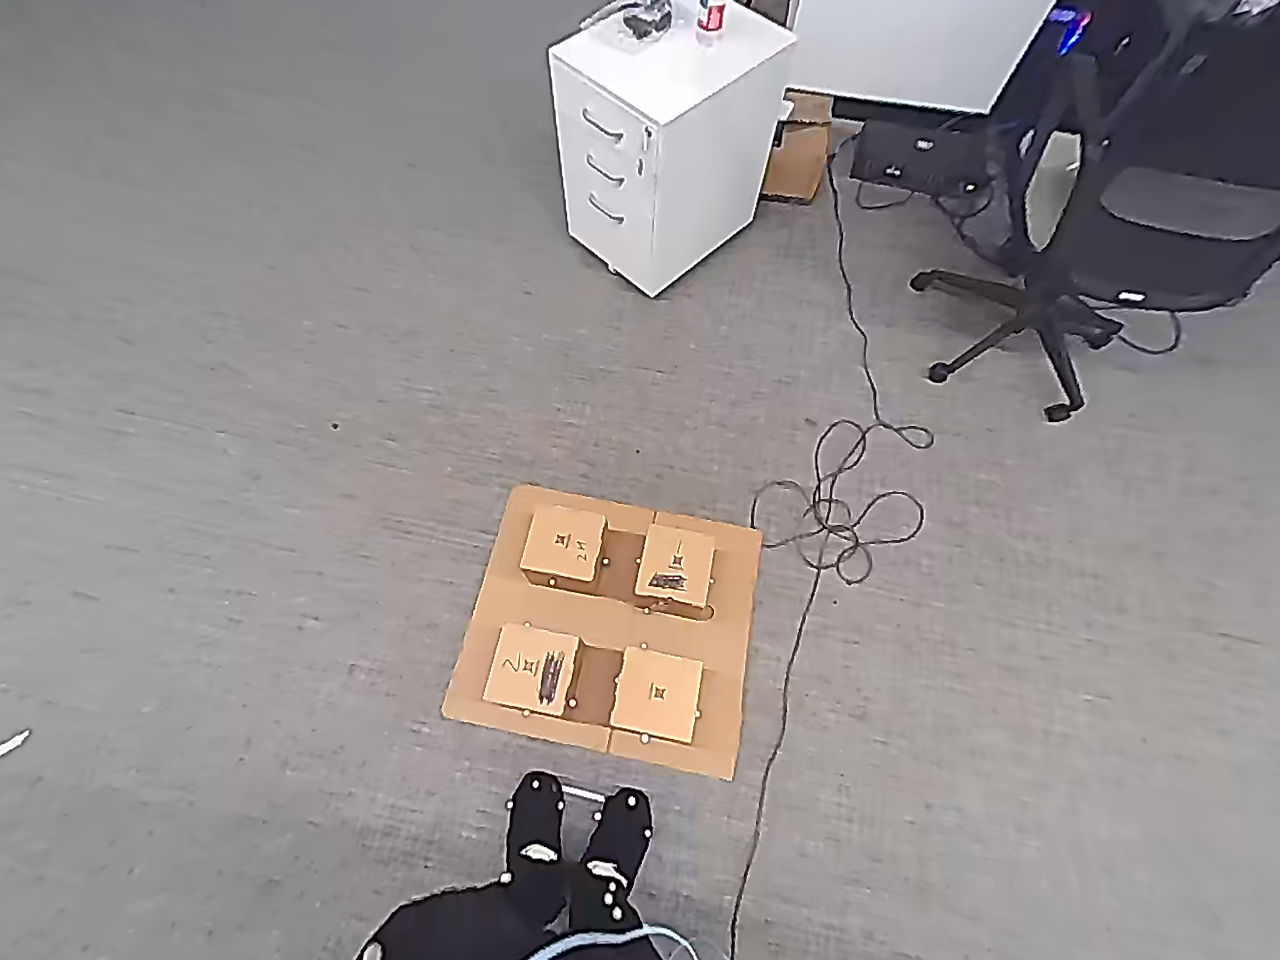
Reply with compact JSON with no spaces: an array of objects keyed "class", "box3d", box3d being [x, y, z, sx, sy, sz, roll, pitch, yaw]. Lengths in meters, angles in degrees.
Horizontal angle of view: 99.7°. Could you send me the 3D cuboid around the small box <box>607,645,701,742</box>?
[{"class":"small box","box3d":[0.034,0.483,1.226,0.179,0.176,0.168,11,67,6]}]
